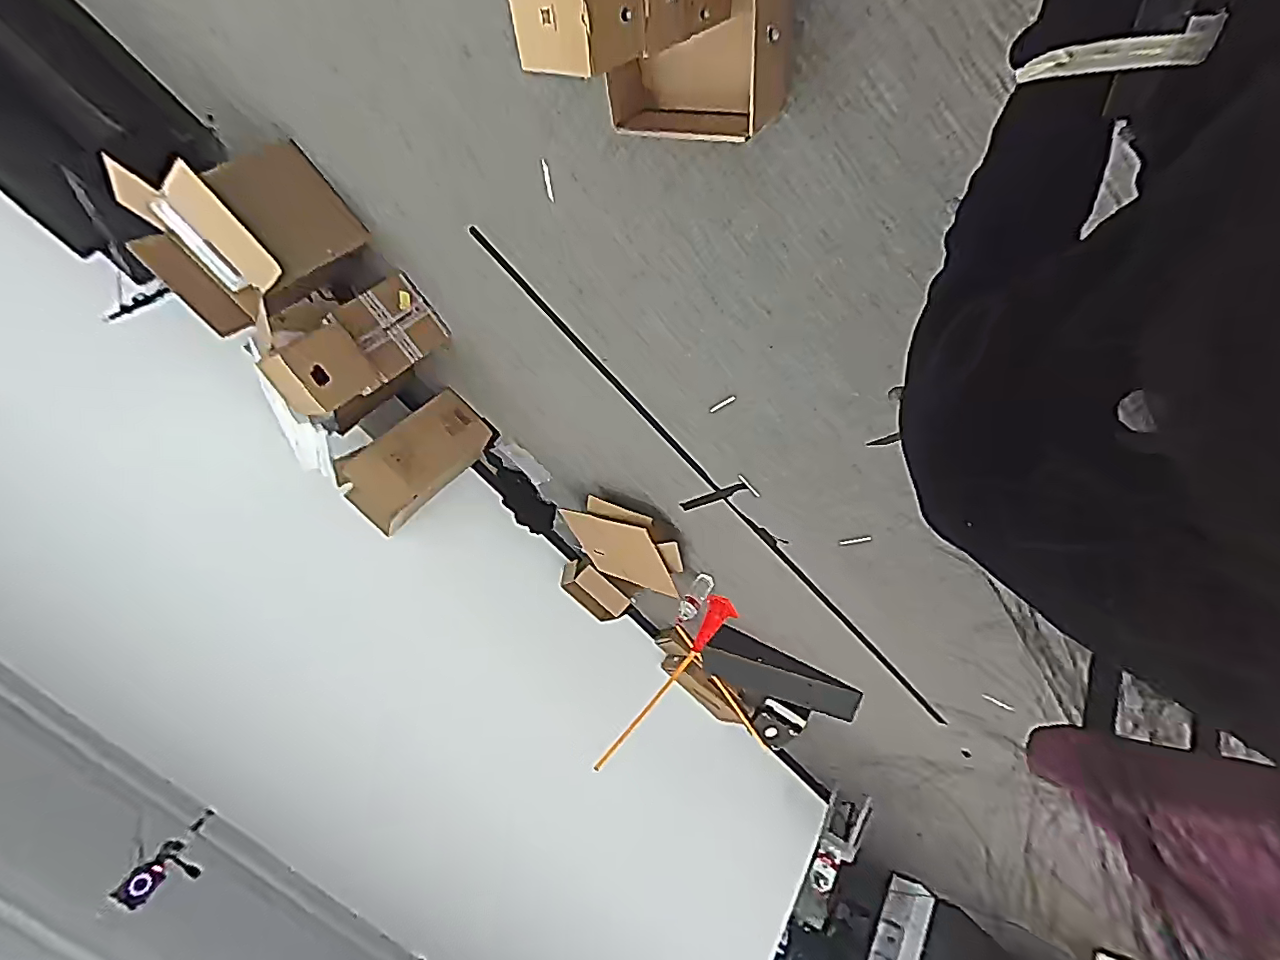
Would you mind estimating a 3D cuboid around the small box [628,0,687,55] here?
[{"bbox_3d":[-0.016,-0.959,1.054,0.179,0.176,0.168,25,146,23],"label":"small box"}]

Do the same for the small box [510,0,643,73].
[{"bbox_3d":[-0.114,-0.858,0.971,0.179,0.176,0.168,25,146,24],"label":"small box"}]
